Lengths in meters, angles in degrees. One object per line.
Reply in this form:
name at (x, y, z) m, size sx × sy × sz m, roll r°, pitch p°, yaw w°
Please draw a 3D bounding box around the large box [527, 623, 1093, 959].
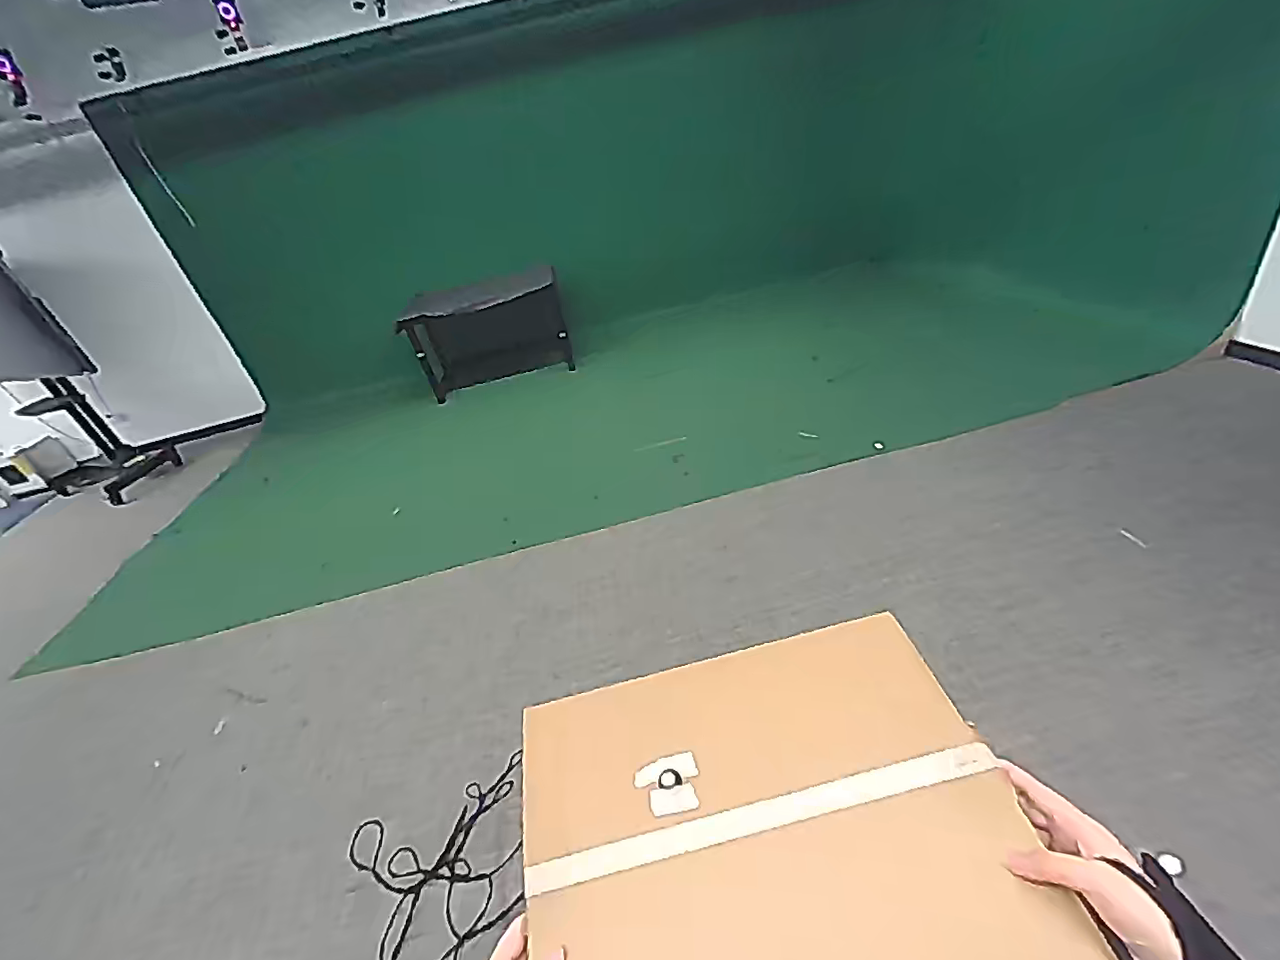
large box at (0.130, 0.410, 0.562) m, size 0.408 × 0.320 × 0.320 m, roll -16°, pitch 40°, yaw 1°
